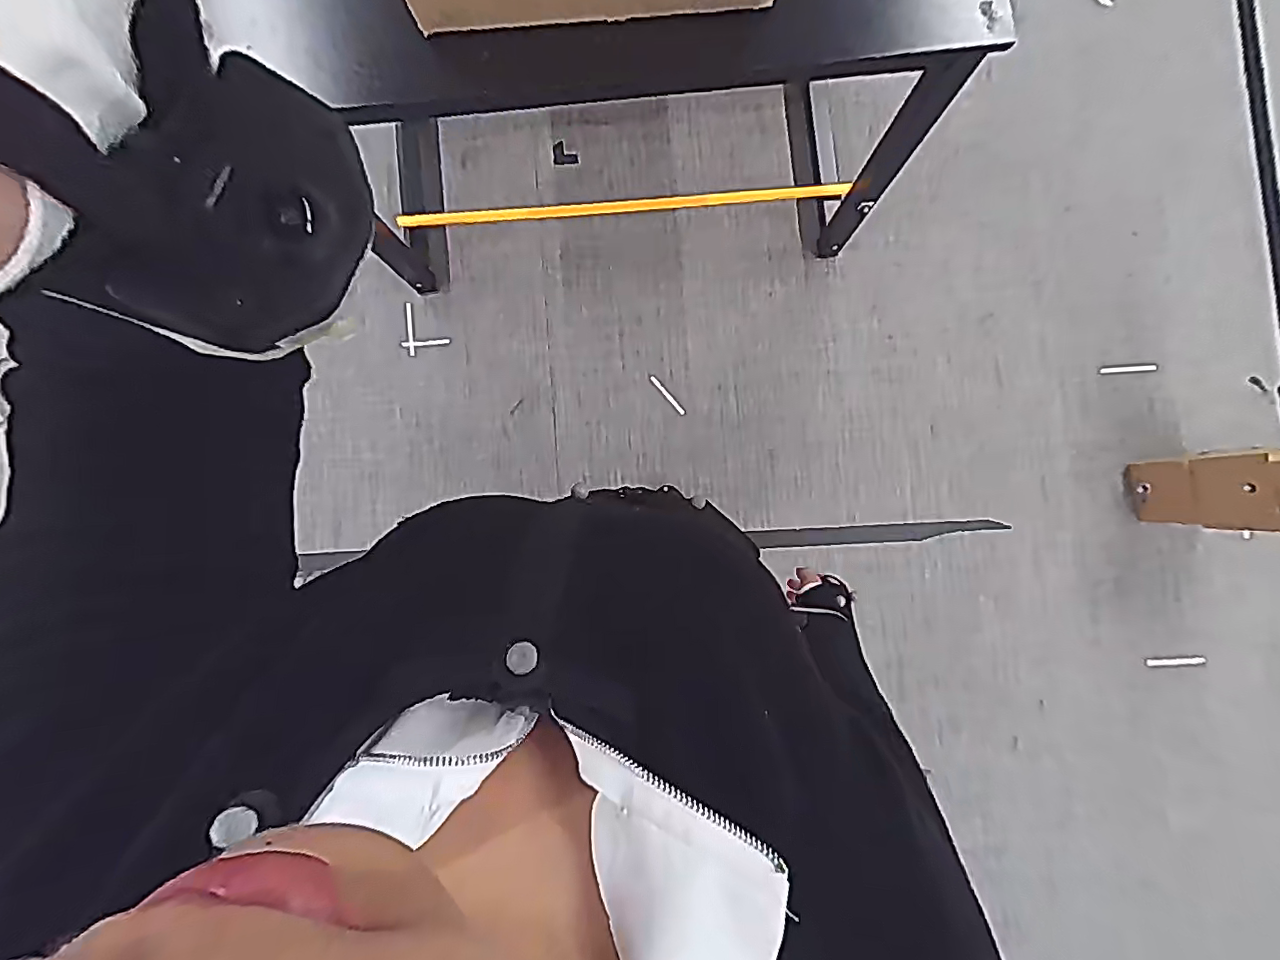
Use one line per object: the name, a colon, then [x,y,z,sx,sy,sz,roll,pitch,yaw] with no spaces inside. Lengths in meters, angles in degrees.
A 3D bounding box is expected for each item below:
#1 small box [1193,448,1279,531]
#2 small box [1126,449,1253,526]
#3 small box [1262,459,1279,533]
small box: [1.423,0.019,1.228,0.168,0.176,0.179,-9,88,1]
small box: [1.423,0.021,1.393,0.179,0.176,0.168,-11,87,2]
small box: [1.415,0.021,1.063,0.179,0.176,0.168,-13,87,1]
